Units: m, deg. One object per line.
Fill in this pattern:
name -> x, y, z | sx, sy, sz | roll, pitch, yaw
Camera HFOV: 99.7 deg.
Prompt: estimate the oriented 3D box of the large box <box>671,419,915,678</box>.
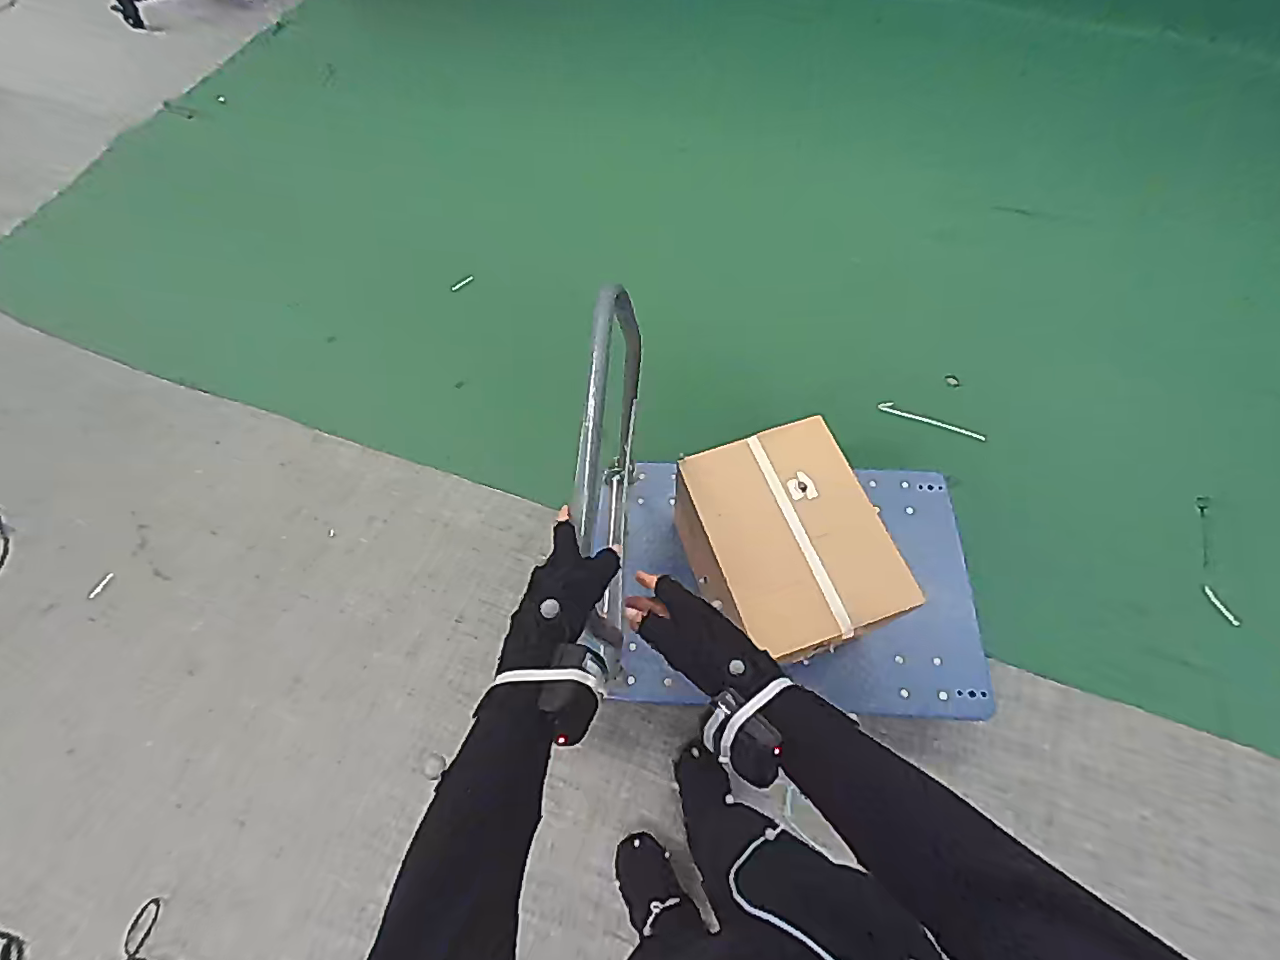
large box -> 0.280, 0.152, 1.136 | 0.320, 0.320, 0.408 | -18, 64, -7
